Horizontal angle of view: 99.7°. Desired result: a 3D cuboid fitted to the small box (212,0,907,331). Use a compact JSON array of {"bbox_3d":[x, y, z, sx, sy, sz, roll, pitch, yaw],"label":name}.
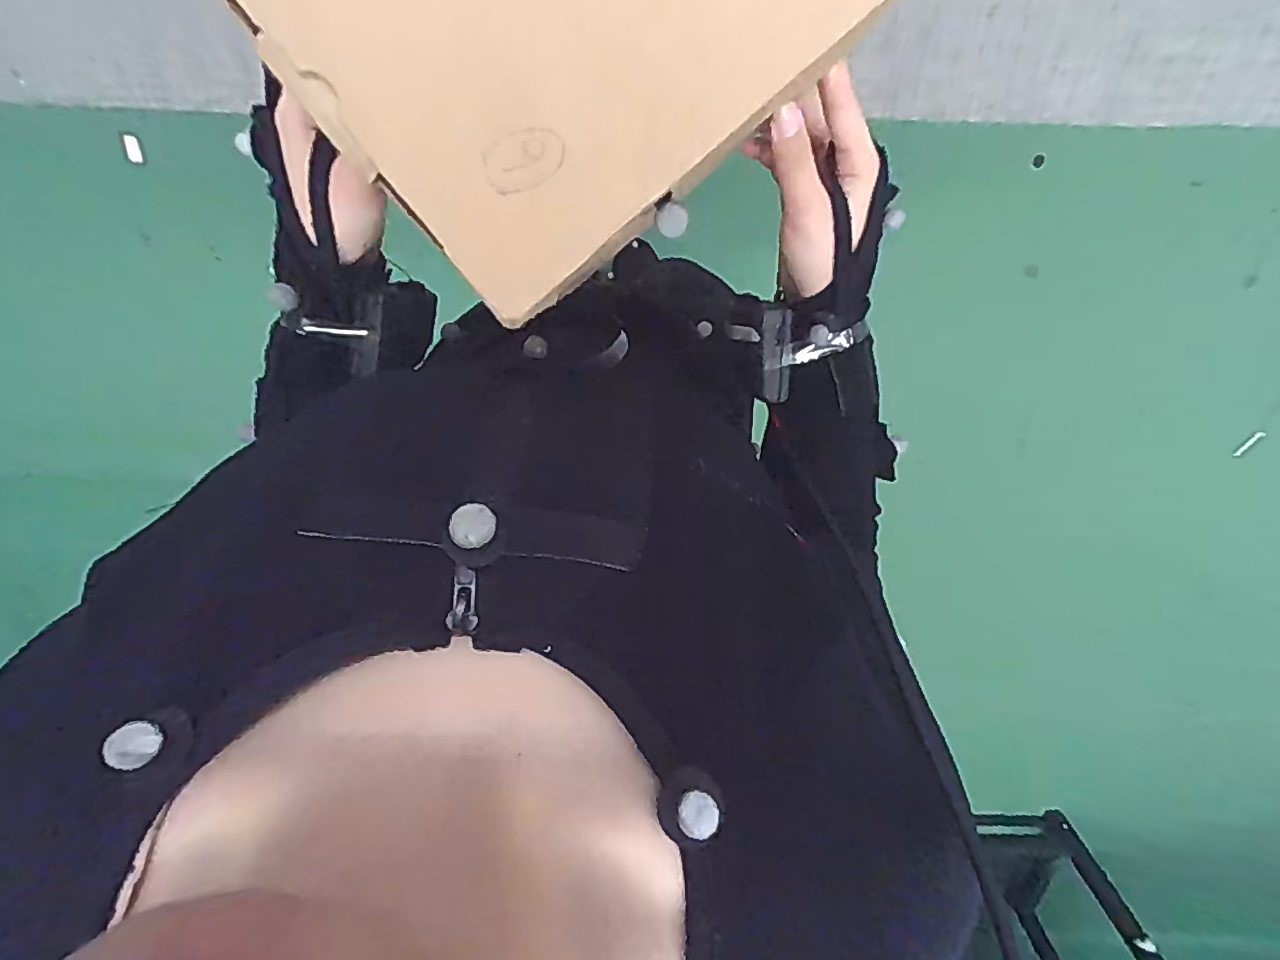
[{"bbox_3d":[-0.029,-0.186,0.220,0.179,0.176,0.168,-36,108,13],"label":"small box"}]
